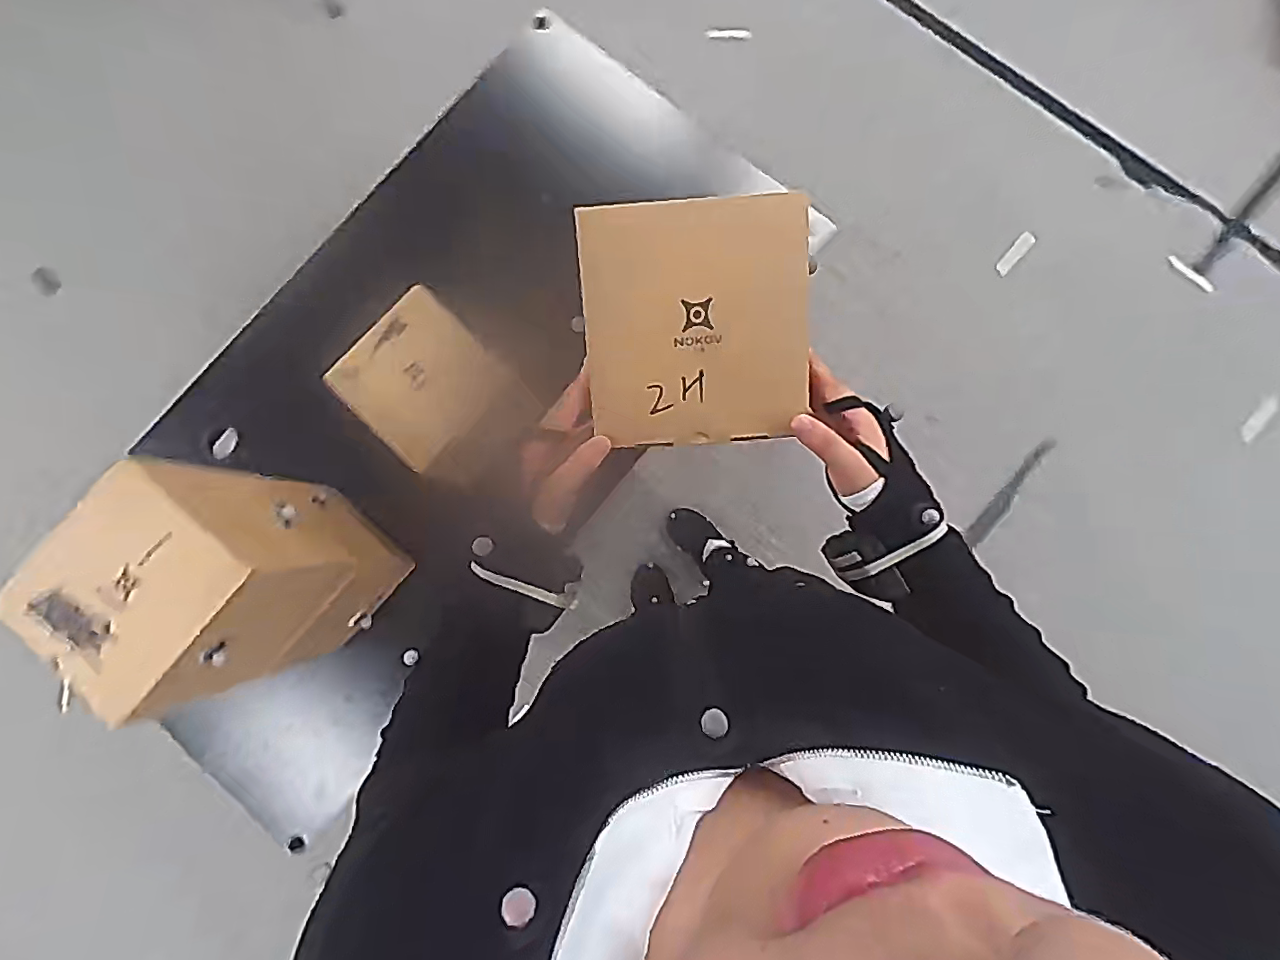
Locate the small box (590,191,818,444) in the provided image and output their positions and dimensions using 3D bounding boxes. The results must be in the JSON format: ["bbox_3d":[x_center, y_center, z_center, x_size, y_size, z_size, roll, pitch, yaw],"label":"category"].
[{"bbox_3d":[0.049,-0.131,0.475,0.168,0.176,0.179,-2,102,3],"label":"small box"}]

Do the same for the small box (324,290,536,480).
[{"bbox_3d":[-0.267,-0.113,0.735,0.179,0.176,0.168,43,87,5],"label":"small box"}]

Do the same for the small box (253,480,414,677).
[{"bbox_3d":[-0.444,0.123,0.714,0.179,0.176,0.168,39,87,4],"label":"small box"}]

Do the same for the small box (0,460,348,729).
[{"bbox_3d":[-0.448,0.107,0.551,0.168,0.176,0.179,39,86,5],"label":"small box"}]
